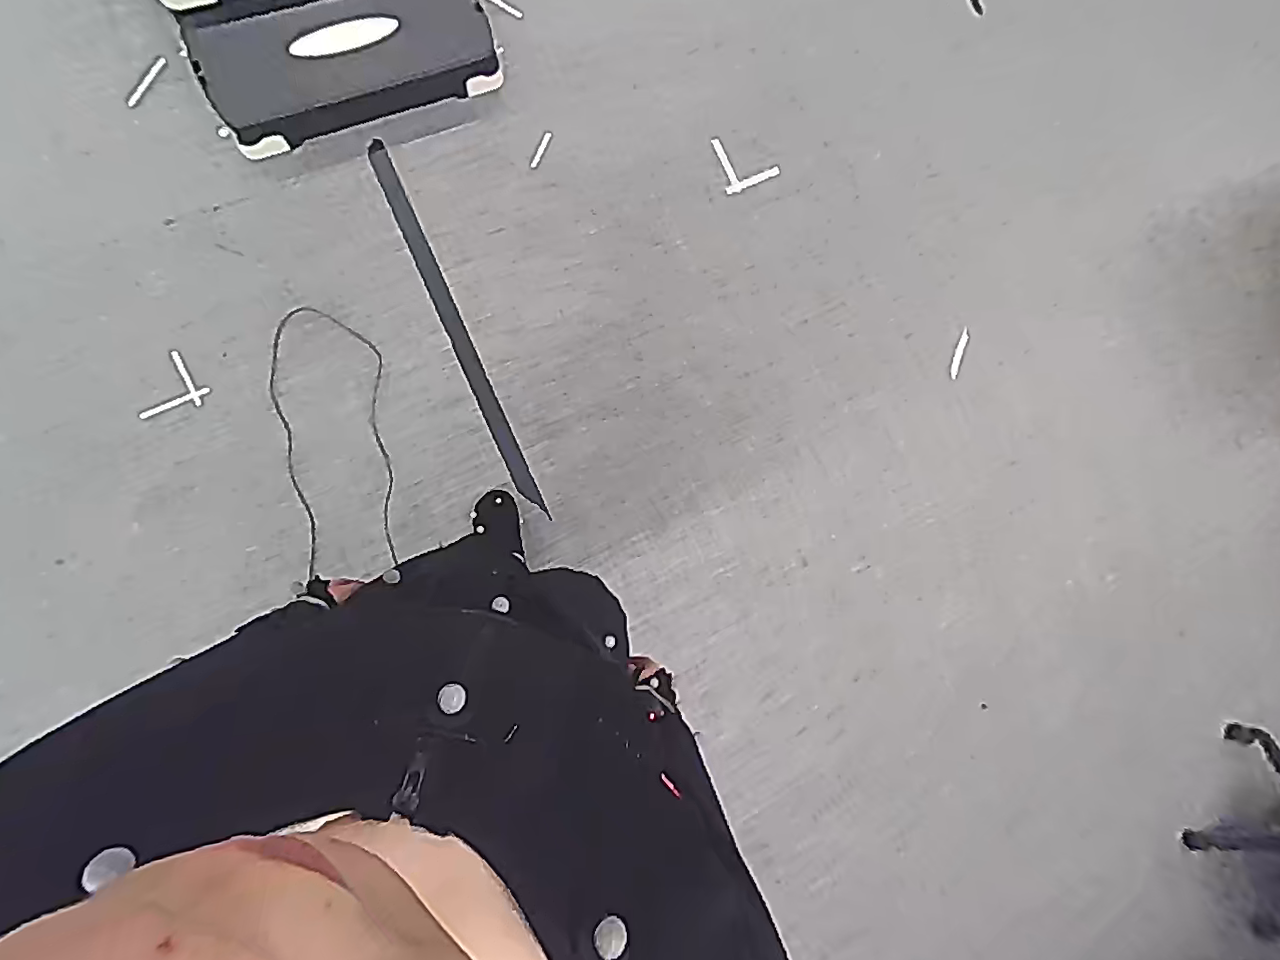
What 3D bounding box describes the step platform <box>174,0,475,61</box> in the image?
[{"bbox_3d":[-0.763,-1.258,1.285,0.684,0.204,0.286,-20,90,-11],"label":"step platform"}]
